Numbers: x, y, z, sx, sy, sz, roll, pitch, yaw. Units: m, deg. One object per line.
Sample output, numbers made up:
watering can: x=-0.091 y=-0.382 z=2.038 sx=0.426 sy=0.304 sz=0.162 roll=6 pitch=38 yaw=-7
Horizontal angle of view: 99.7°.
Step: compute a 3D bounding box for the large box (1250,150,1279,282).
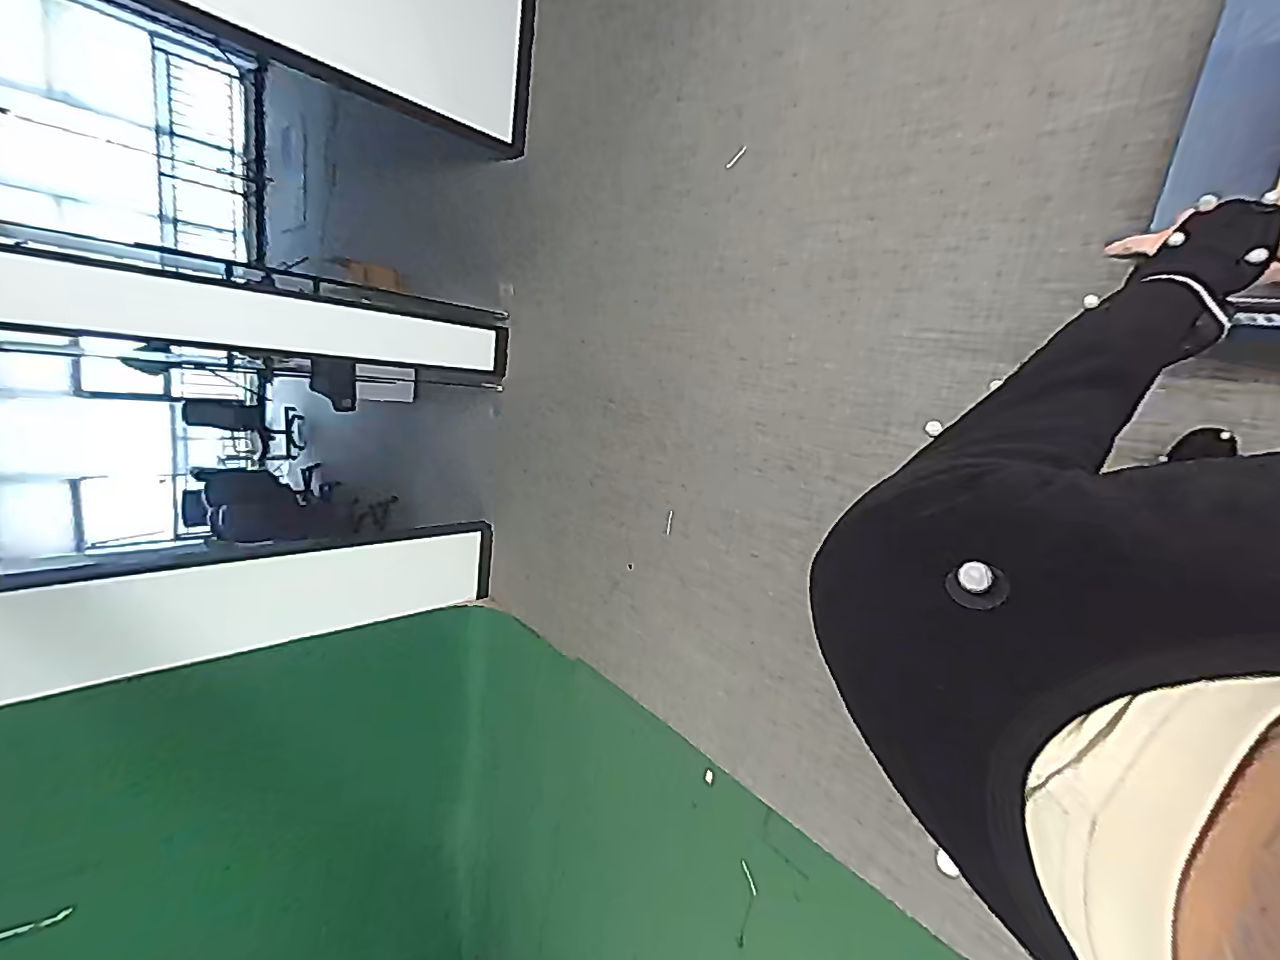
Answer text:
large box: x=1.135 y=-0.516 z=0.746 sx=0.320 sy=0.320 sz=0.408 roll=20 pitch=105 yaw=43
